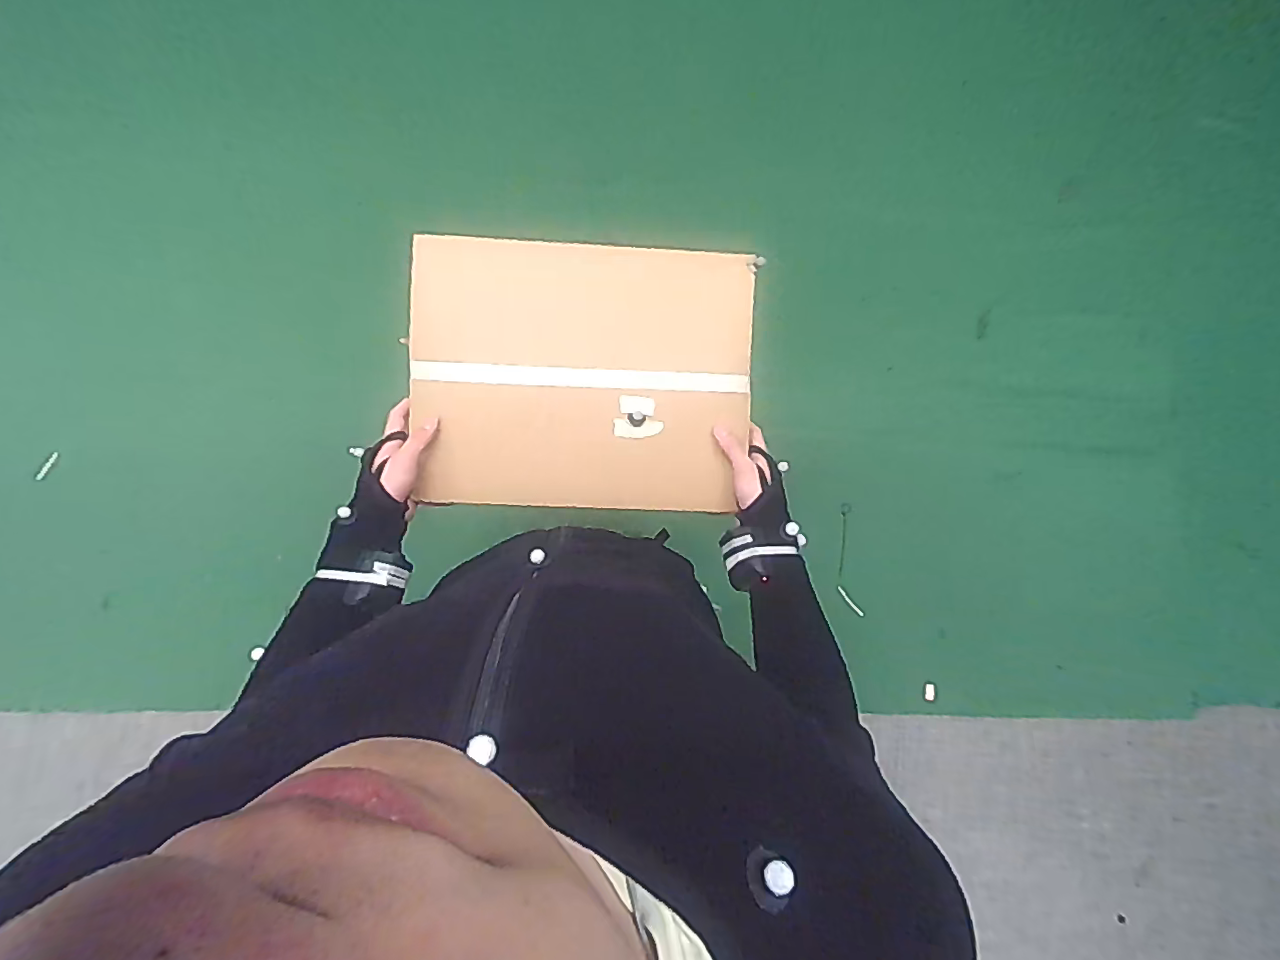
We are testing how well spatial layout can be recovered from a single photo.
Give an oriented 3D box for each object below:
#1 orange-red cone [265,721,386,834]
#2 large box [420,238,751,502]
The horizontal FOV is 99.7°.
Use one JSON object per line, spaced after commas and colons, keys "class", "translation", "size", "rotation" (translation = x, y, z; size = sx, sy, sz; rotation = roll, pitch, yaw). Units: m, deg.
{"class": "orange-red cone", "translation": [-0.829, 0.785, 1.373], "size": [0.199, 0.360, 0.198], "rotation": [9, 84, -3]}
{"class": "large box", "translation": [-0.076, -0.136, 0.804], "size": [0.408, 0.320, 0.320], "rotation": [2, 94, -4]}
